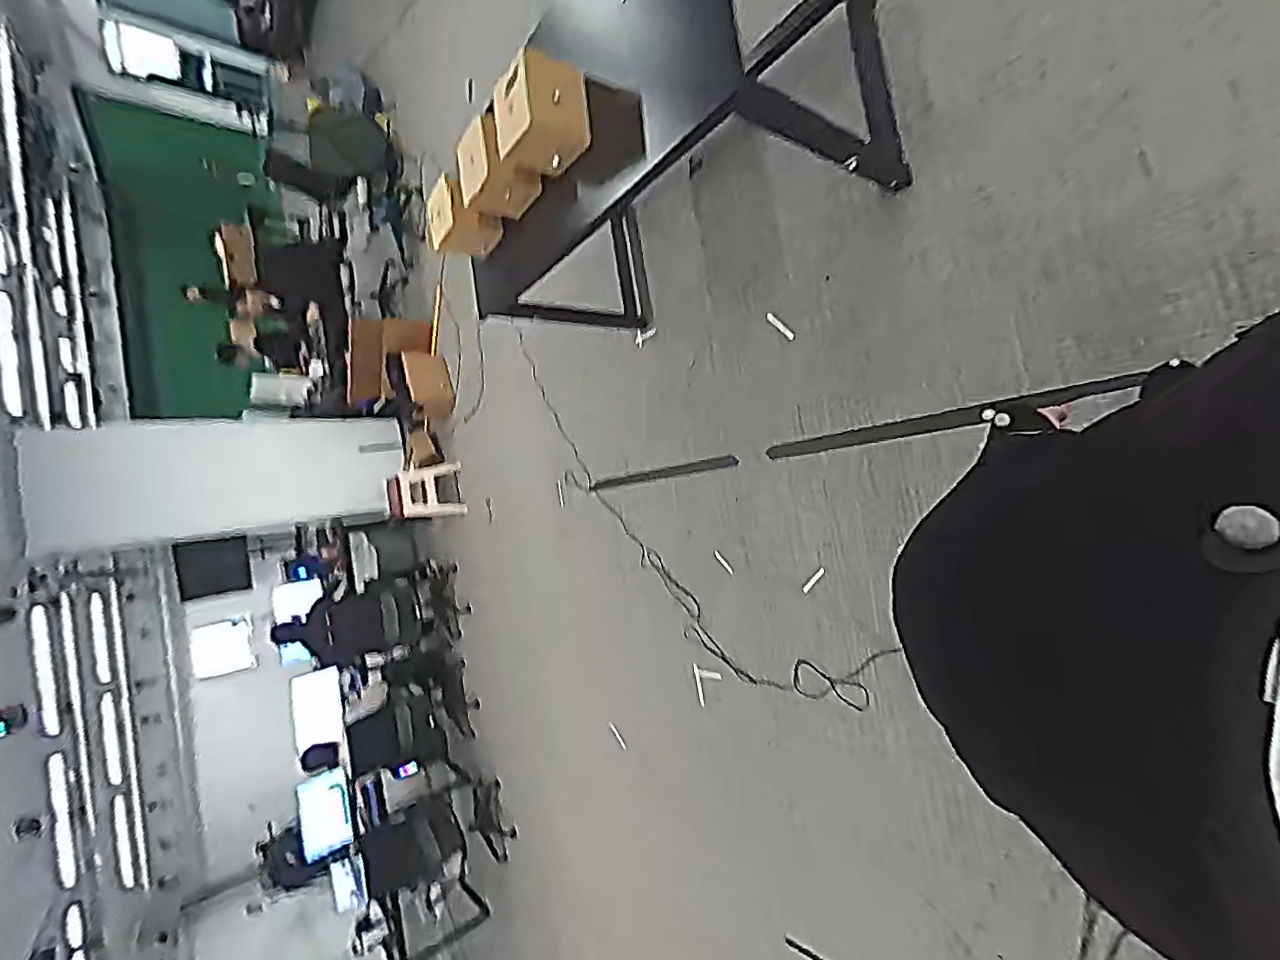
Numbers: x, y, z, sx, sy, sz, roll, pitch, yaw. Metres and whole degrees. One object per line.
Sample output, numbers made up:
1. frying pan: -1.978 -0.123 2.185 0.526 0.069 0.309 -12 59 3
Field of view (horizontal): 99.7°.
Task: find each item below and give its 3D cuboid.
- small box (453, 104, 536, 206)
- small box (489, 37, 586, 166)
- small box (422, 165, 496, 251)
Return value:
1. small box: -0.404 -0.891 1.510 0.168 0.176 0.179 -12 86 50
2. small box: -0.248 -0.907 1.315 0.168 0.176 0.179 -4 93 51
3. small box: -0.567 -0.851 1.711 0.179 0.176 0.168 -14 85 50
